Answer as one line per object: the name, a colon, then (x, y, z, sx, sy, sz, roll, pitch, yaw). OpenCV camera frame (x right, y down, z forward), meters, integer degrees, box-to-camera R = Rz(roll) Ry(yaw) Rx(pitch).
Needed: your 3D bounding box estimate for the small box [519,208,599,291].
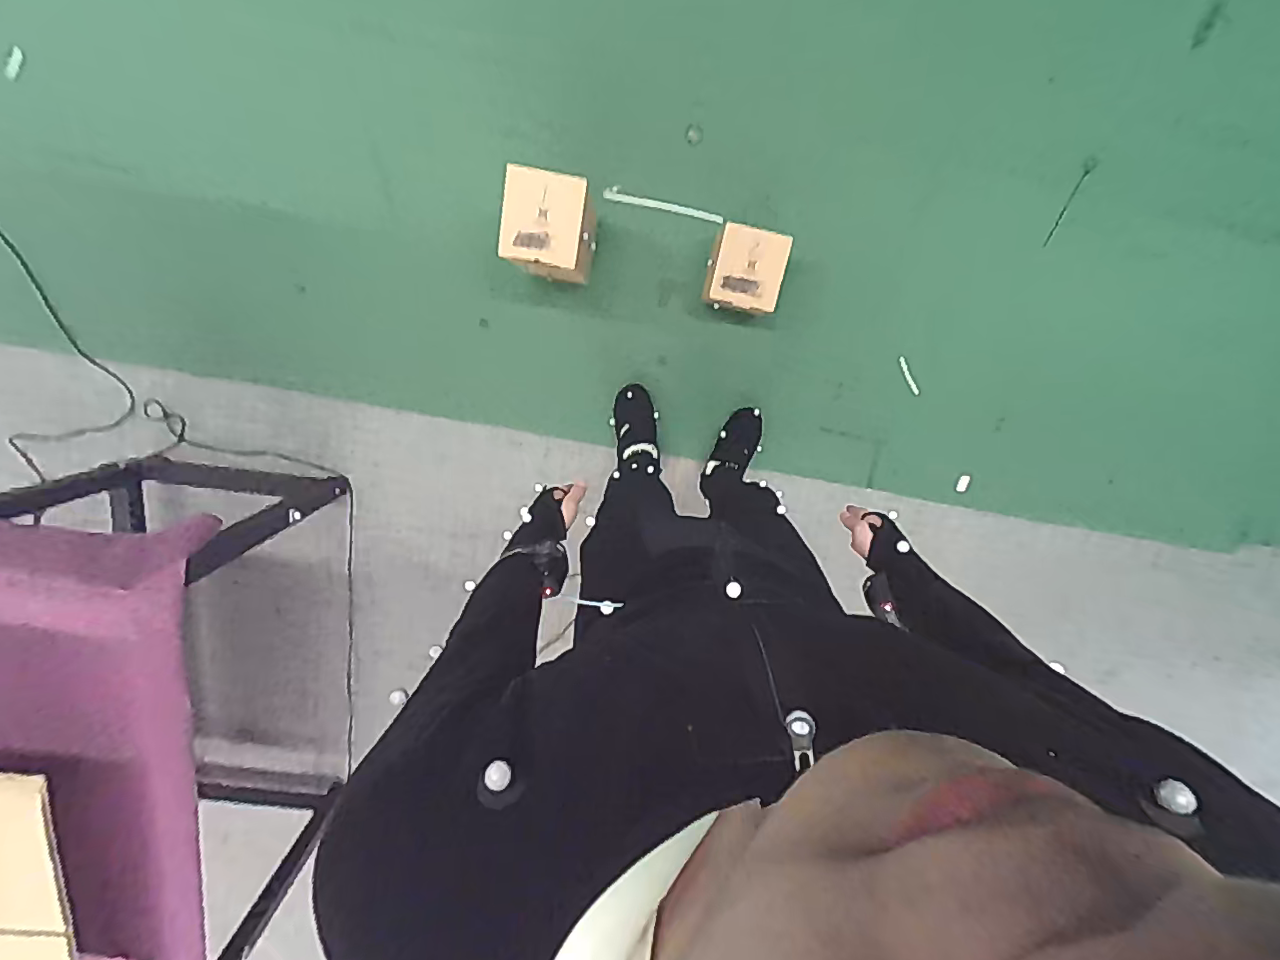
small box: (-0.197, -0.583, 1.351, 0.168, 0.176, 0.179, 10, 105, -3)

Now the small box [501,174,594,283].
small box: (-0.196, -0.542, 1.193, 0.168, 0.176, 0.179, 10, 104, -3)
